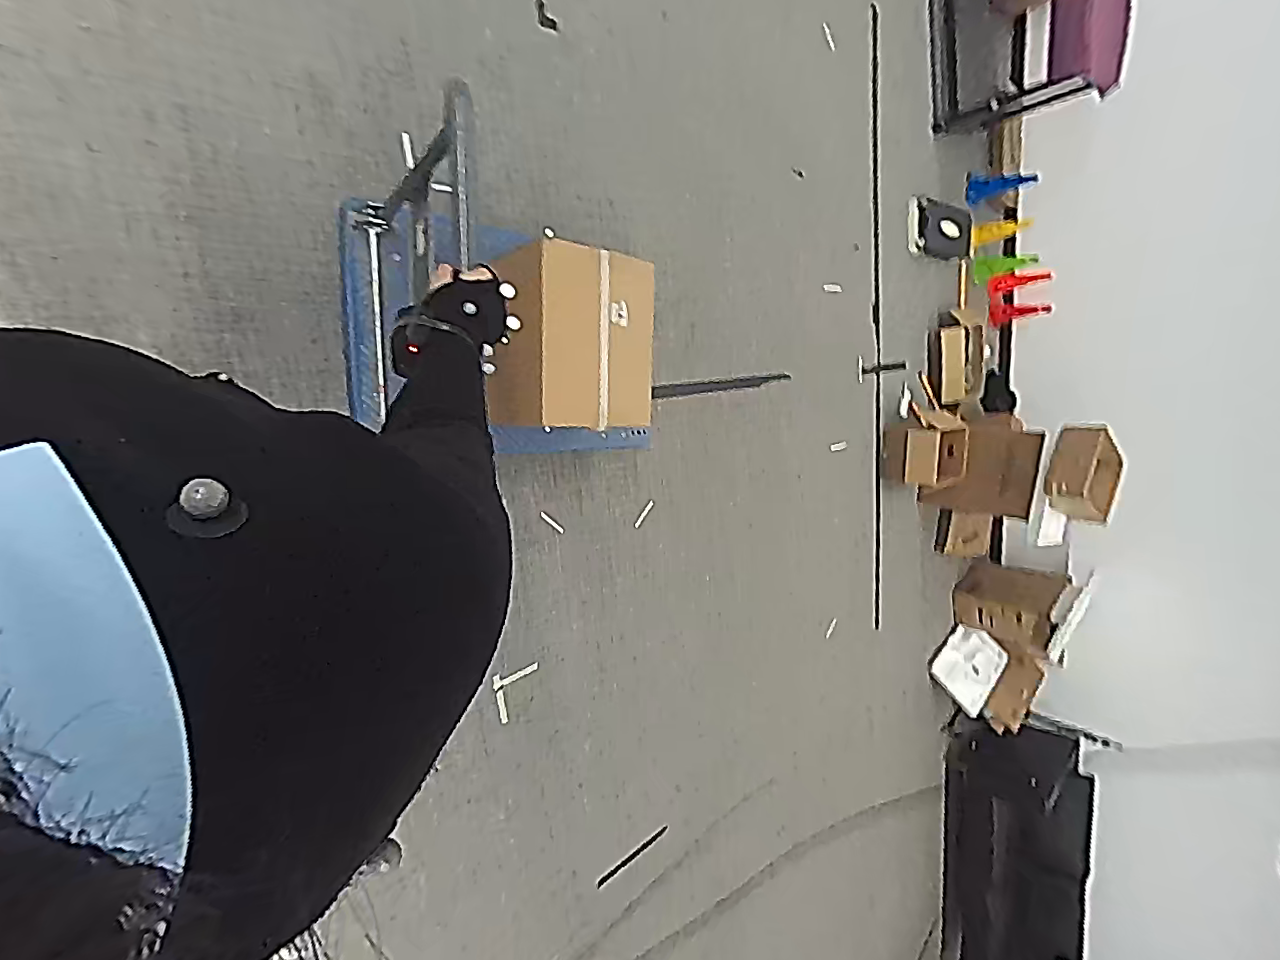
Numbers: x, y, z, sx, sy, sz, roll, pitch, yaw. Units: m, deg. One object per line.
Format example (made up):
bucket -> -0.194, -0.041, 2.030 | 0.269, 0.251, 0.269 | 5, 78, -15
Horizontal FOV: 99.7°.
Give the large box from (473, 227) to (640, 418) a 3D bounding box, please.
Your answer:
large box -> -0.214, -0.363, 1.372 | 0.320, 0.320, 0.408 | -5, 99, -41
